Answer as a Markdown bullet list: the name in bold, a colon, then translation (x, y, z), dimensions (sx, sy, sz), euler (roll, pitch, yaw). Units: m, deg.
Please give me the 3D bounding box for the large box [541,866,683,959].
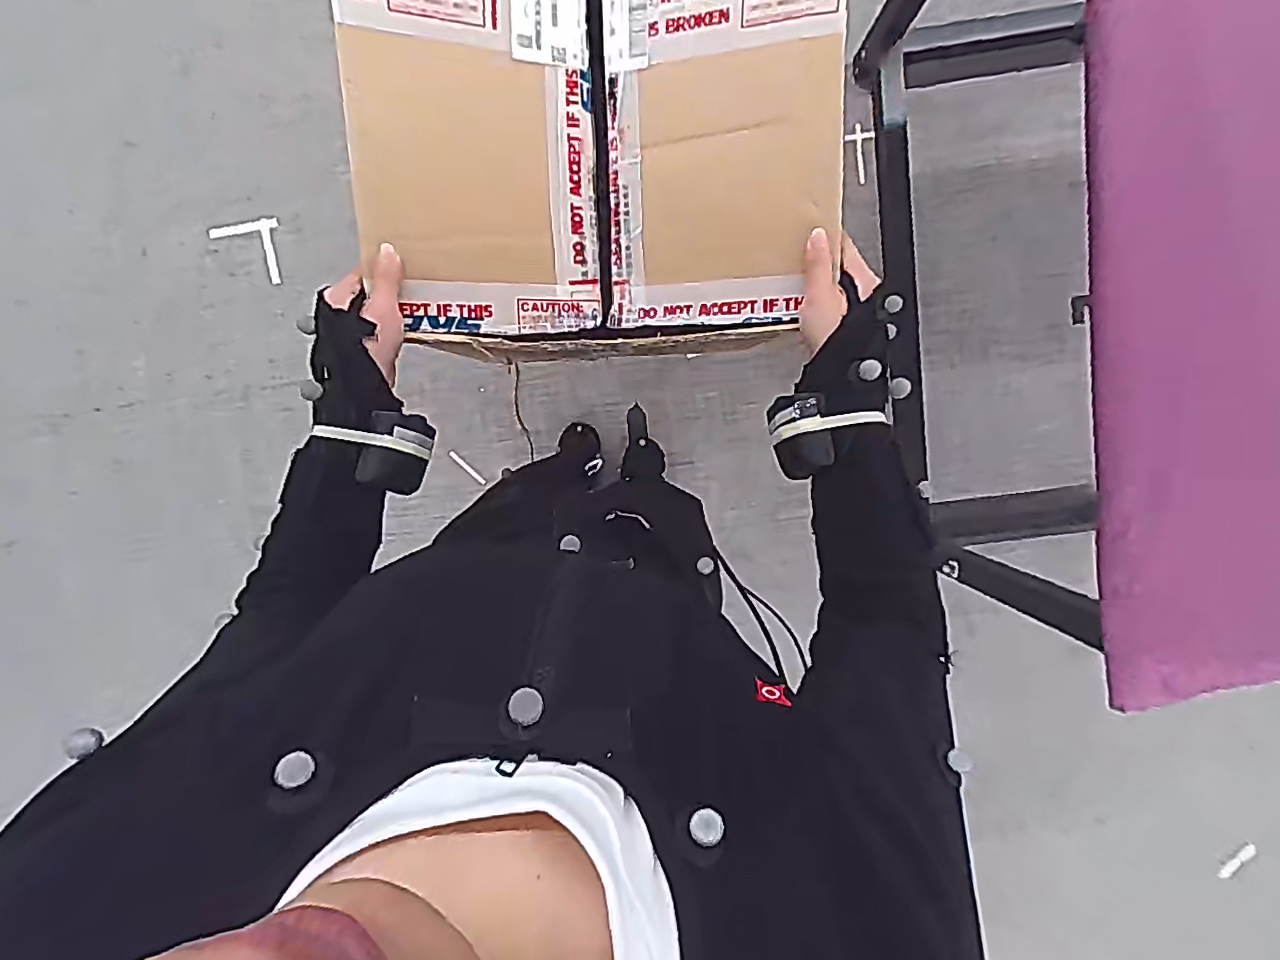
- **large box**: translation (-0.050, 1.286, 1.358), dimensions (0.320, 0.320, 0.408), euler (-8, 94, 1)
